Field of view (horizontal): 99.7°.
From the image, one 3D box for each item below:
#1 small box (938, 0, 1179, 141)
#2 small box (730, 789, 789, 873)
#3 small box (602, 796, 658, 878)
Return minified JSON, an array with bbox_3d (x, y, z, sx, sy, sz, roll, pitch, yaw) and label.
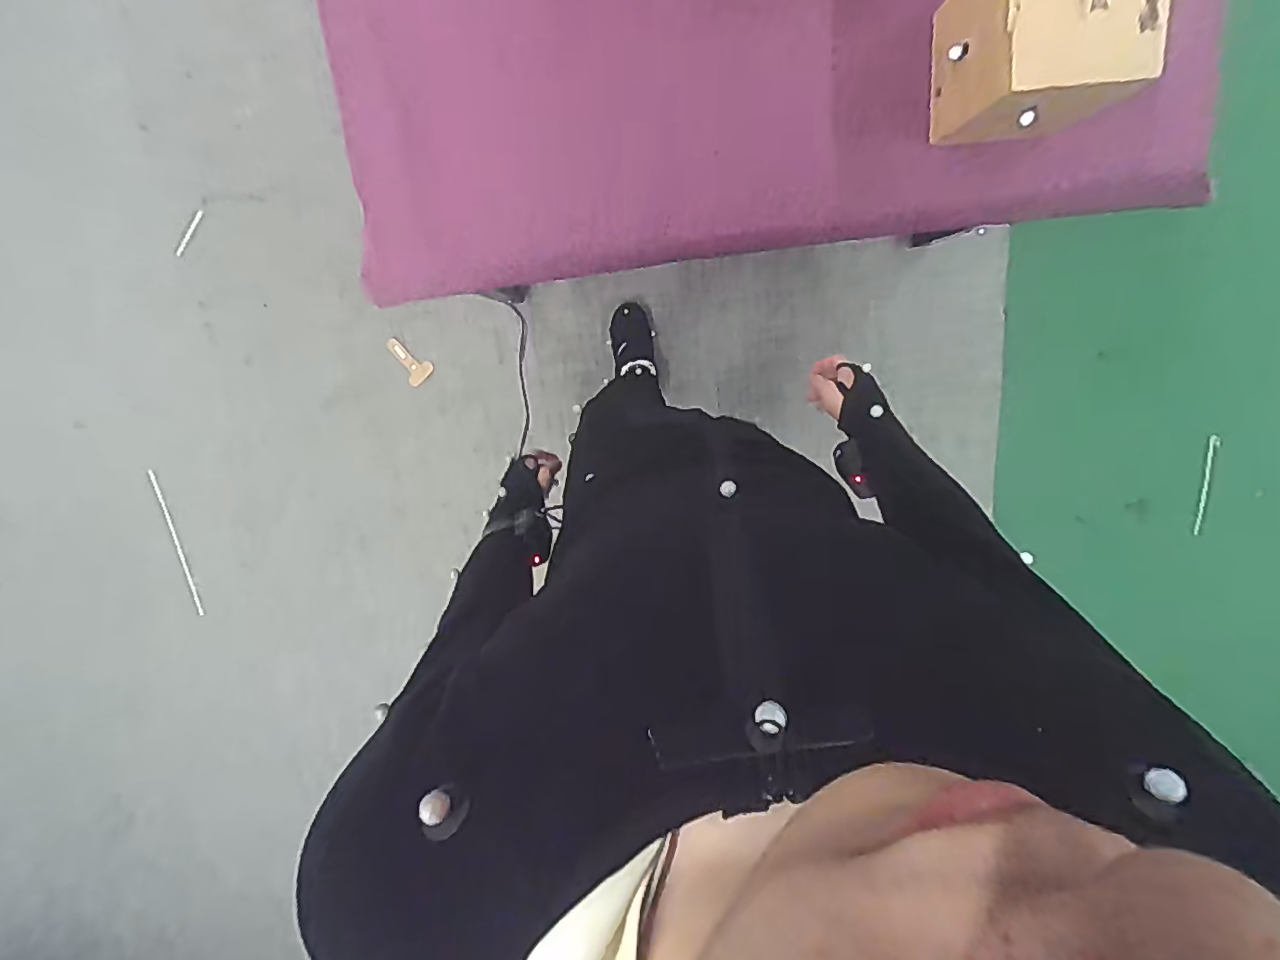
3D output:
[{"bbox_3d":[0.488,-0.534,0.653,0.179,0.176,0.168,-5,103,2],"label":"small box"},{"bbox_3d":[0.402,1.184,1.830,0.168,0.176,0.179,-4,104,0],"label":"small box"},{"bbox_3d":[-0.032,1.206,1.835,0.179,0.176,0.168,-3,104,1],"label":"small box"}]
